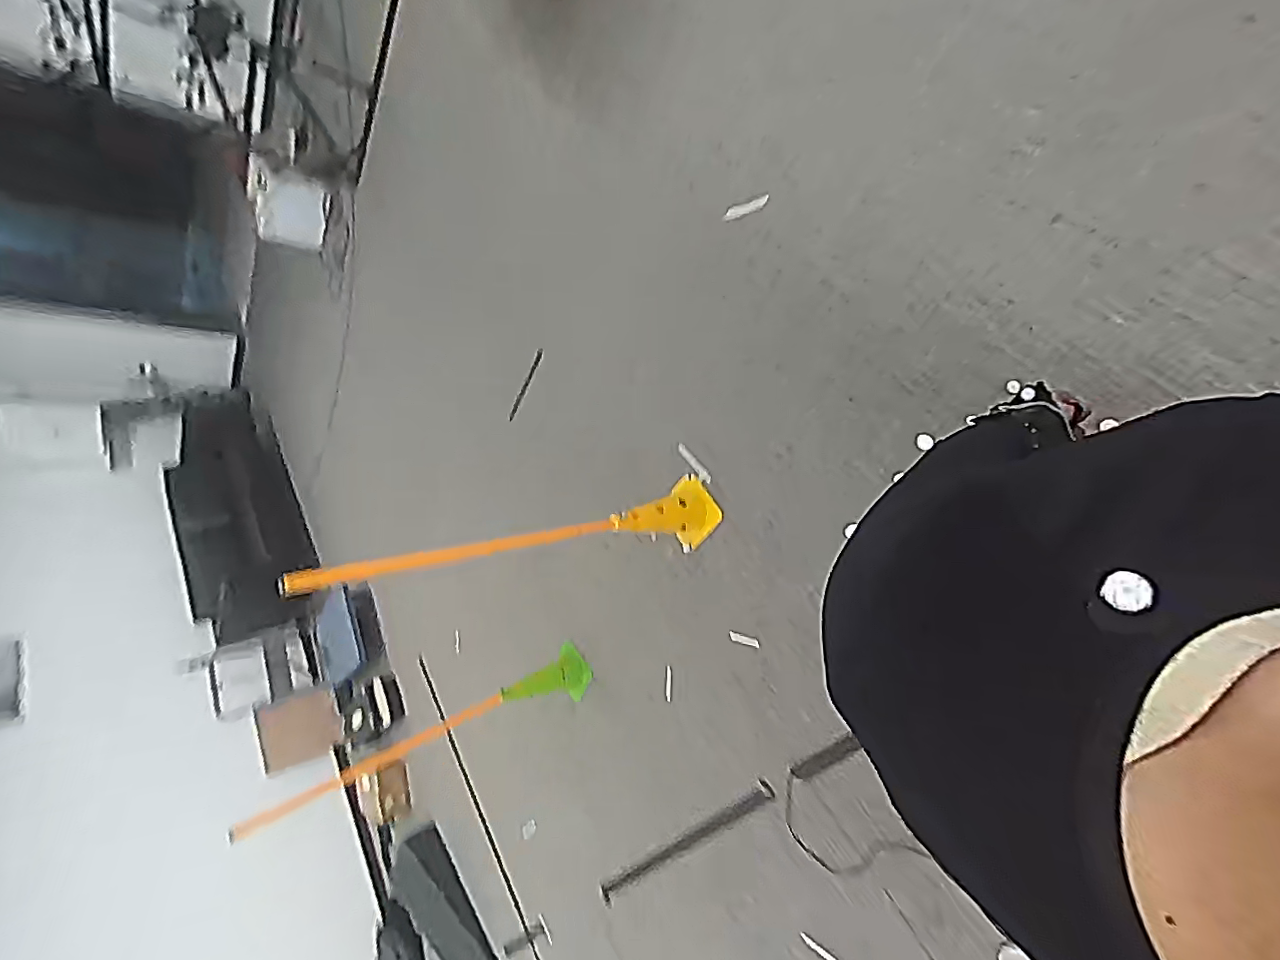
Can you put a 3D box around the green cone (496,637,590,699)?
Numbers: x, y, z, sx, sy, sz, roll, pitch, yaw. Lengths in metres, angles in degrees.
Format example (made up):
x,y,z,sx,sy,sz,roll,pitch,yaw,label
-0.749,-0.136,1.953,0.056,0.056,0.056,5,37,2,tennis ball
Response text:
x,y,z,sx,sy,sz,roll,pitch,yaw,label
-0.412,0.805,2.176,0.200,0.368,0.202,44,120,33,green cone
